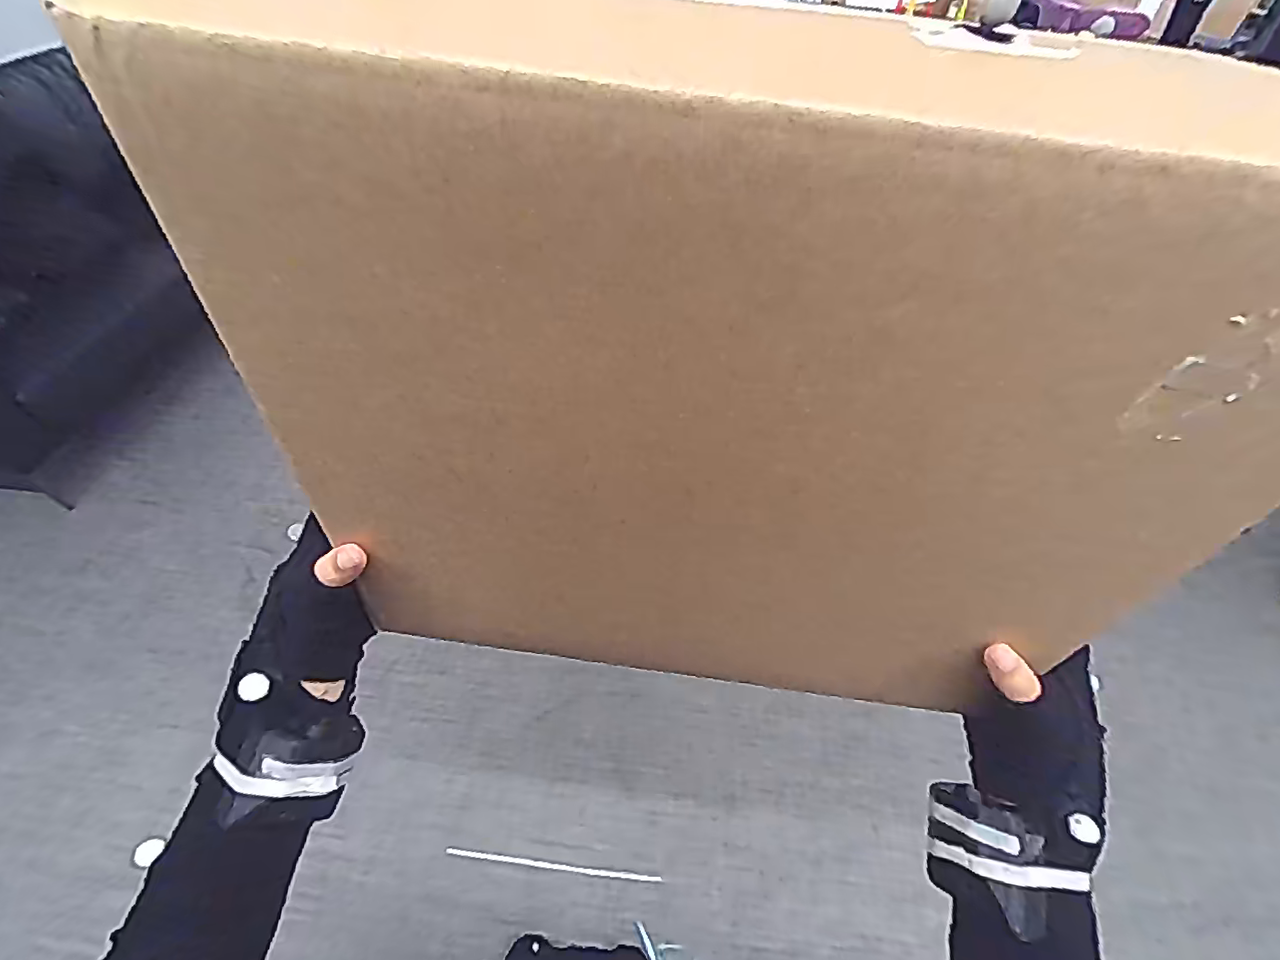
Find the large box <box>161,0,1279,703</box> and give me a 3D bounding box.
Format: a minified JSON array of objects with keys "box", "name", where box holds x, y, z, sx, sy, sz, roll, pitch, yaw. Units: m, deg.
[{"box":[0.062,-0.085,0.355,0.408,0.320,0.320,8,46,-1],"name":"large box"}]
